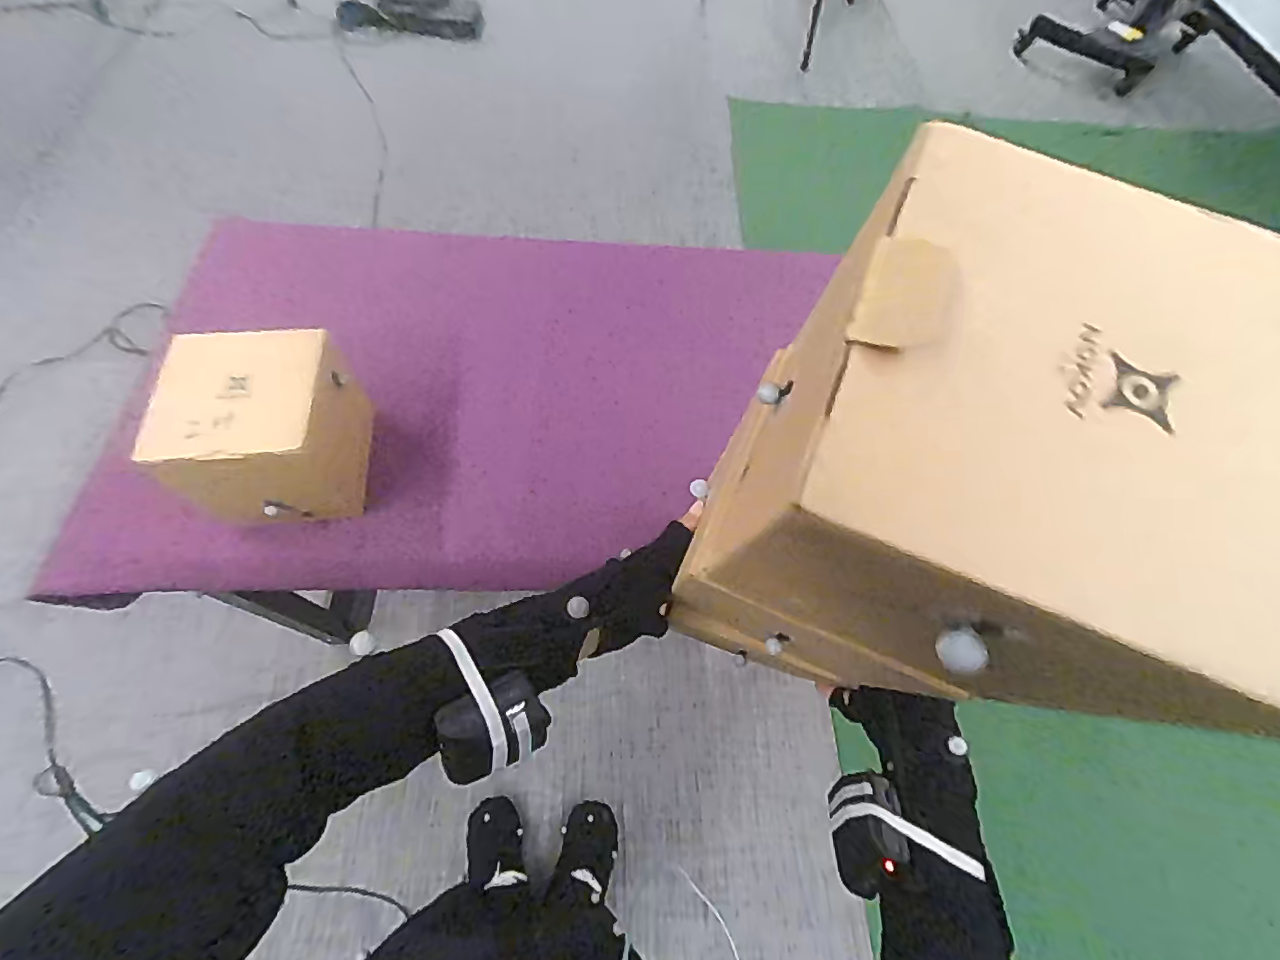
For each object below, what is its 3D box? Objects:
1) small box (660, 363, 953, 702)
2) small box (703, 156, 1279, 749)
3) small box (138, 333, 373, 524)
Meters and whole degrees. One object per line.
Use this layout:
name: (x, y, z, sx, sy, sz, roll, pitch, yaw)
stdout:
small box: (0.129, 0.046, 0.415, 0.179, 0.176, 0.168, 24, 72, 5)
small box: (0.148, -0.002, 0.262, 0.179, 0.176, 0.168, 23, 73, 4)
small box: (-0.450, -0.061, 0.672, 0.168, 0.176, 0.179, -3, 62, -7)
